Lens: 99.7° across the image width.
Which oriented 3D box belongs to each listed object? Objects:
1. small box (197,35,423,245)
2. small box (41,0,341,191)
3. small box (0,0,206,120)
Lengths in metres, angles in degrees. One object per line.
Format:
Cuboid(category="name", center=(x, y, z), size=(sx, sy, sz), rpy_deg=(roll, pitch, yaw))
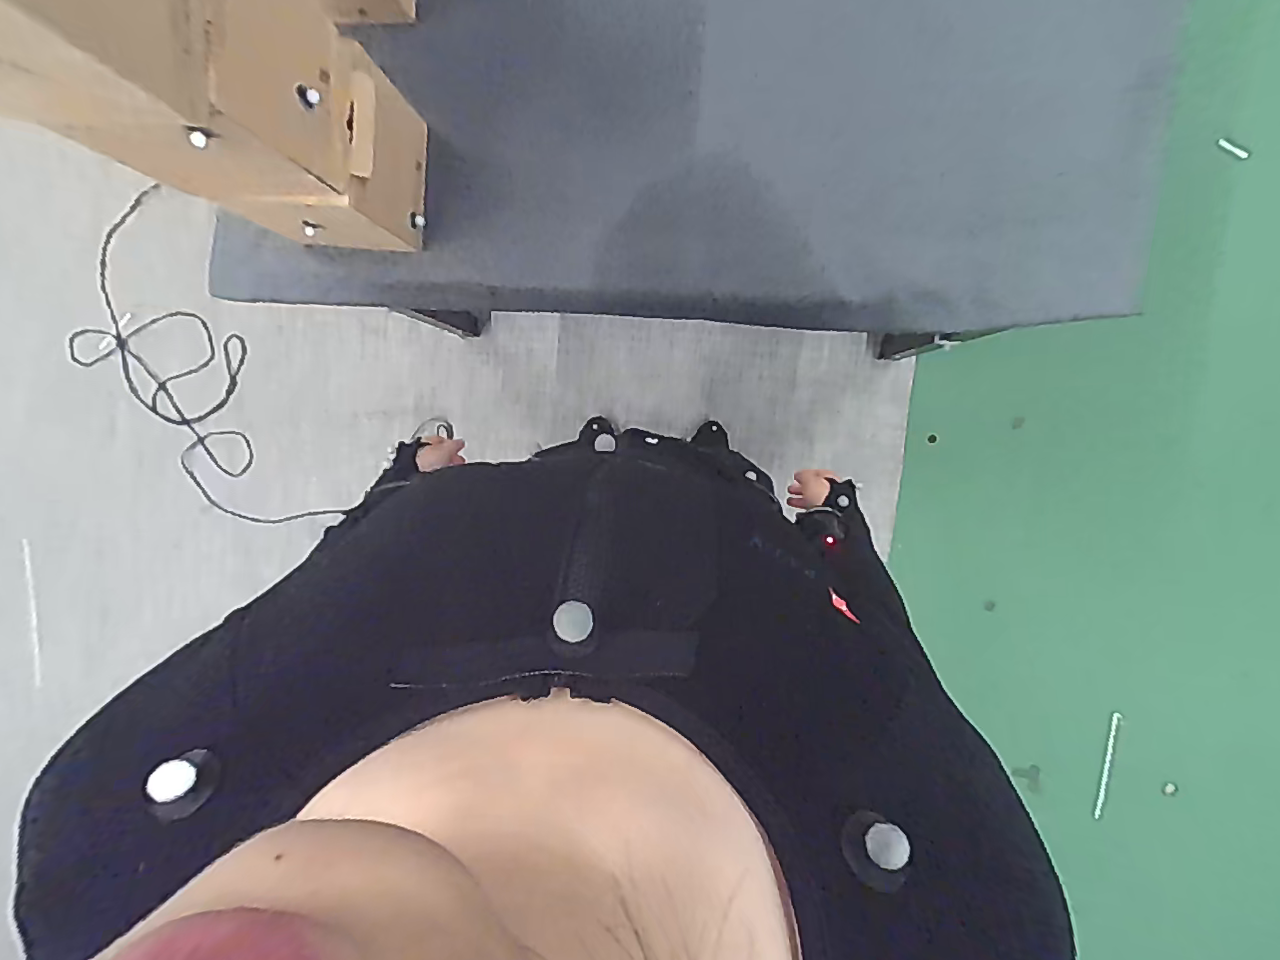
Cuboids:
Cuboid(category="small box", center=(-0.378, -0.391, 0.644), size=(0.179, 0.176, 0.168), rpy_deg=(6, 97, 3))
Cuboid(category="small box", center=(-0.403, -0.376, 0.484), size=(0.179, 0.176, 0.168), rpy_deg=(1, 97, 3))
Cuboid(category="small box", center=(-0.411, -0.345, 0.322), size=(0.179, 0.176, 0.168), rpy_deg=(3, 97, 3))
